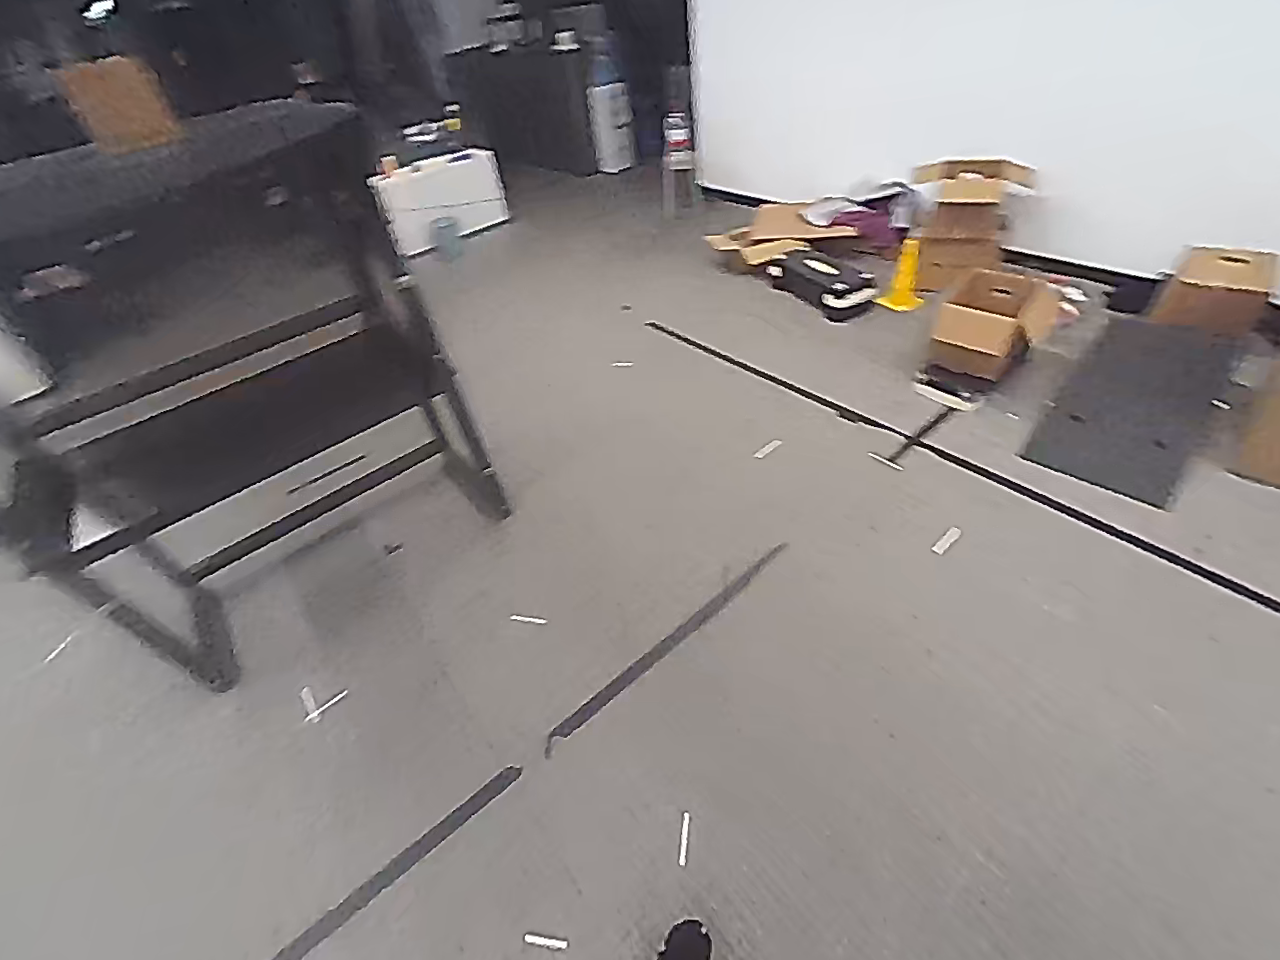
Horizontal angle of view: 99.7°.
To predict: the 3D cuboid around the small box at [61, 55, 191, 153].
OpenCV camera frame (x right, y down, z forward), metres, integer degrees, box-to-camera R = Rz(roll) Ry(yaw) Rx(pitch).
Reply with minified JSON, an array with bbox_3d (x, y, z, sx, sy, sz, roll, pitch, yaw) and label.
[{"bbox_3d":[-1.243,-0.913,1.317,0.168,0.176,0.179,-35,48,-25],"label":"small box"}]
